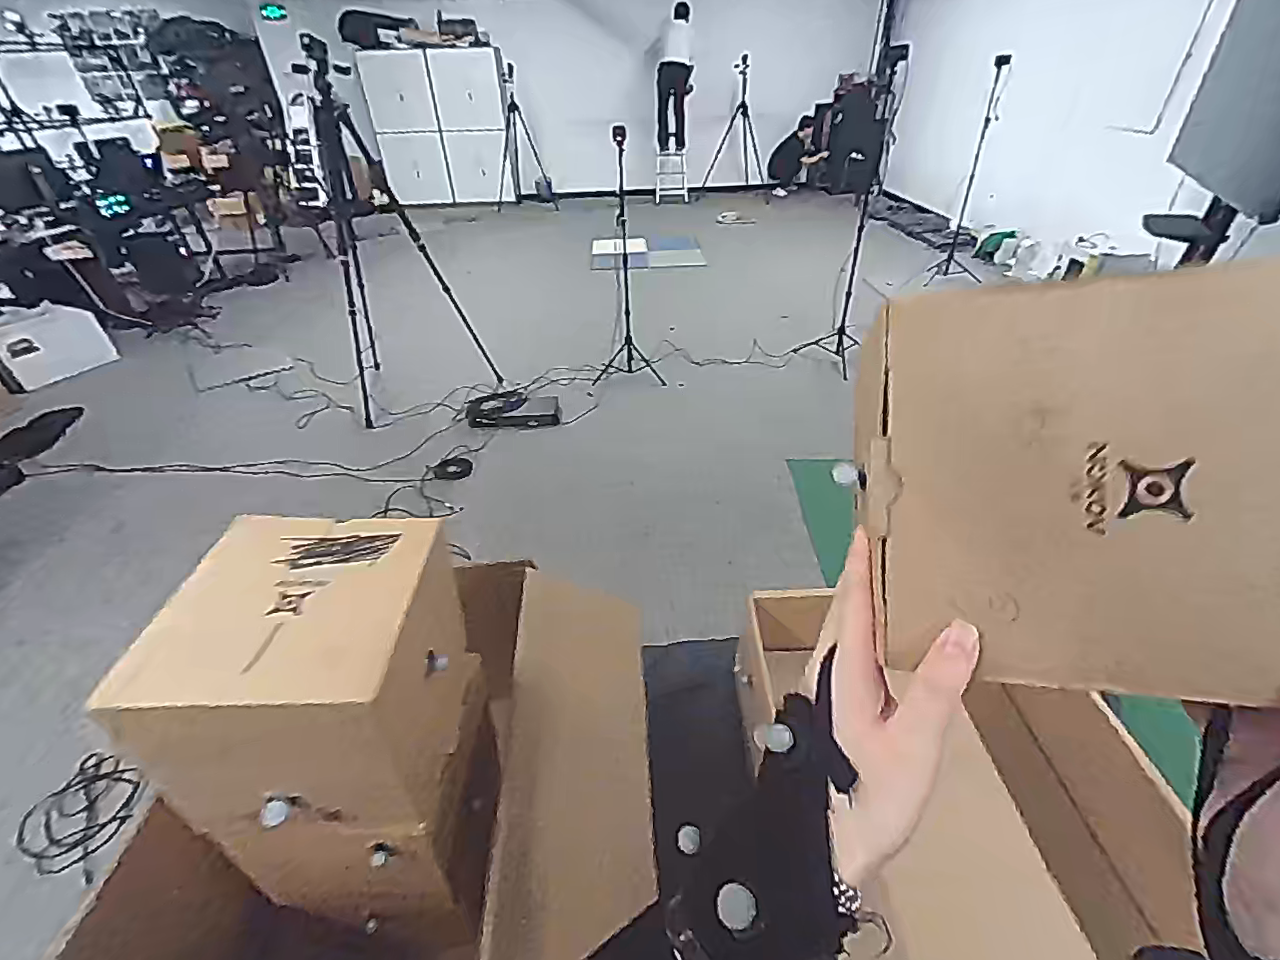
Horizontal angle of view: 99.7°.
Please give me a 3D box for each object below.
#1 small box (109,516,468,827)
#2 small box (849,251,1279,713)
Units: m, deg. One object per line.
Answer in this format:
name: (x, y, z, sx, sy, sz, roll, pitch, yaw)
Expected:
small box: (-0.244, 0.149, 0.438, 0.168, 0.176, 0.179, 1, 36, -4)
small box: (0.206, -0.005, 0.282, 0.179, 0.168, 0.176, 1, 5, 18)
